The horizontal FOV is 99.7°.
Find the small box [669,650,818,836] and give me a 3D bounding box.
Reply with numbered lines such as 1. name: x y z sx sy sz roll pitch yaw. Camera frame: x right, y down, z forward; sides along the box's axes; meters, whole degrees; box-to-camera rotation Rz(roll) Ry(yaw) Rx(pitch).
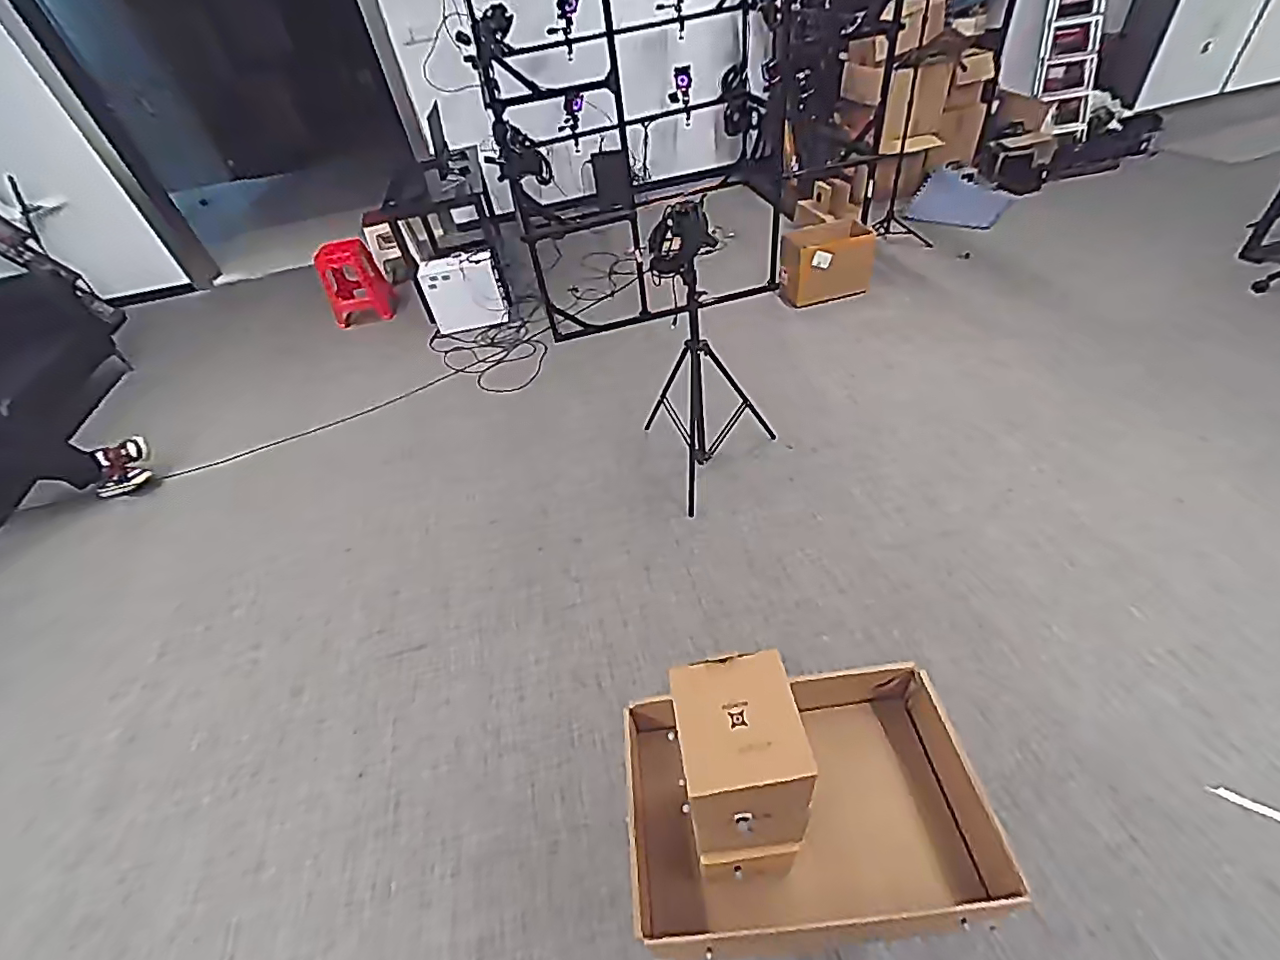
1. small box: 0.139 0.375 0.772 0.168 0.176 0.179 -10 42 0

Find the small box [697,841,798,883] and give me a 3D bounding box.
1. small box: 0.180 0.616 0.991 0.168 0.176 0.179 -9 43 0

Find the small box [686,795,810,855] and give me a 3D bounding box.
1. small box: 0.163 0.491 0.885 0.179 0.176 0.168 -8 43 1
